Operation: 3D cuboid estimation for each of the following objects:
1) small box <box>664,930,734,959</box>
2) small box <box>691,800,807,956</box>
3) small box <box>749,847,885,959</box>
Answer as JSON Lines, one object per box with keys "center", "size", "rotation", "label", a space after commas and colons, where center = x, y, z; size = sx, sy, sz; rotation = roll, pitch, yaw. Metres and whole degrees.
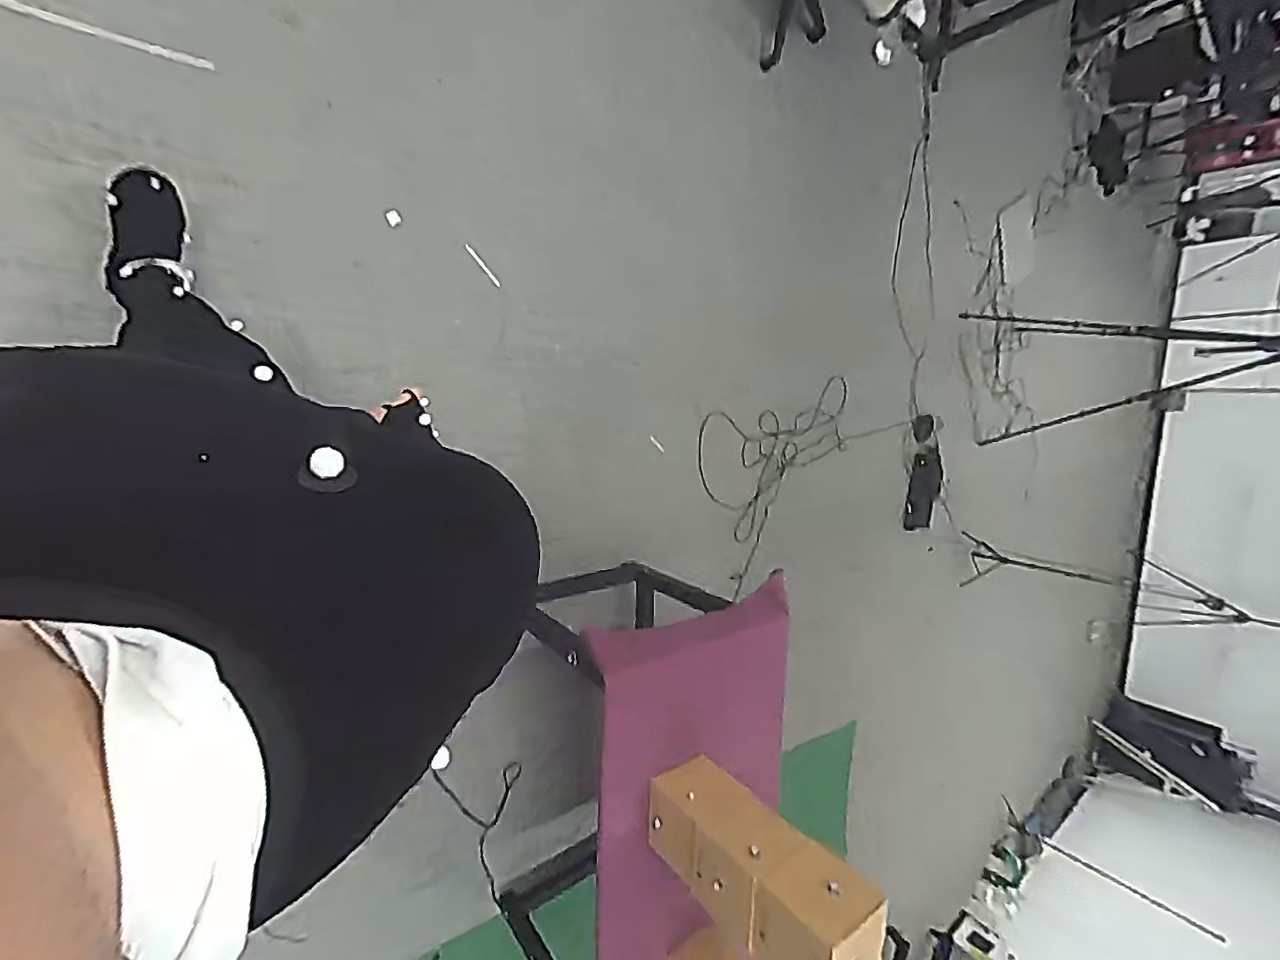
{"center": [0.162, 1.318, 1.383], "size": [0.179, 0.176, 0.168], "rotation": [-1, 97, -37], "label": "small box"}
{"center": [0.225, 0.825, 1.143], "size": [0.179, 0.176, 0.168], "rotation": [-2, 99, -37], "label": "small box"}
{"center": [0.331, 0.846, 1.019], "size": [0.179, 0.176, 0.168], "rotation": [-4, 99, -37], "label": "small box"}
